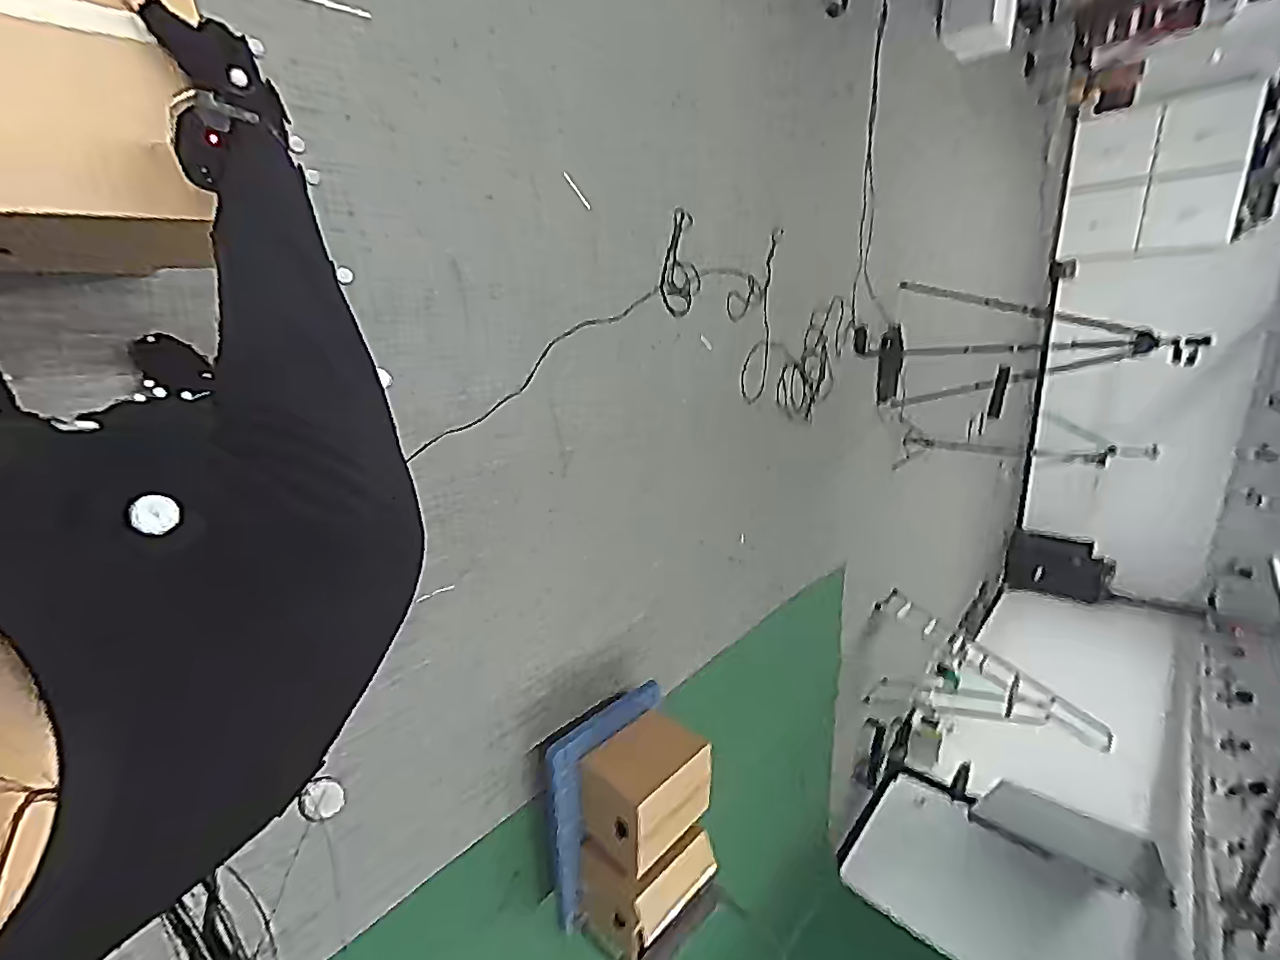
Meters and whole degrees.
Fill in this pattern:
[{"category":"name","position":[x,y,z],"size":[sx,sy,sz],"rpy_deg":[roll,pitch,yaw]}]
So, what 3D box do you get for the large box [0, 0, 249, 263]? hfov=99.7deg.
[{"category":"large box","position":[-0.658,-0.383,0.500],"size":[0.408,0.320,0.320],"rpy_deg":[-19,109,-38]}]
